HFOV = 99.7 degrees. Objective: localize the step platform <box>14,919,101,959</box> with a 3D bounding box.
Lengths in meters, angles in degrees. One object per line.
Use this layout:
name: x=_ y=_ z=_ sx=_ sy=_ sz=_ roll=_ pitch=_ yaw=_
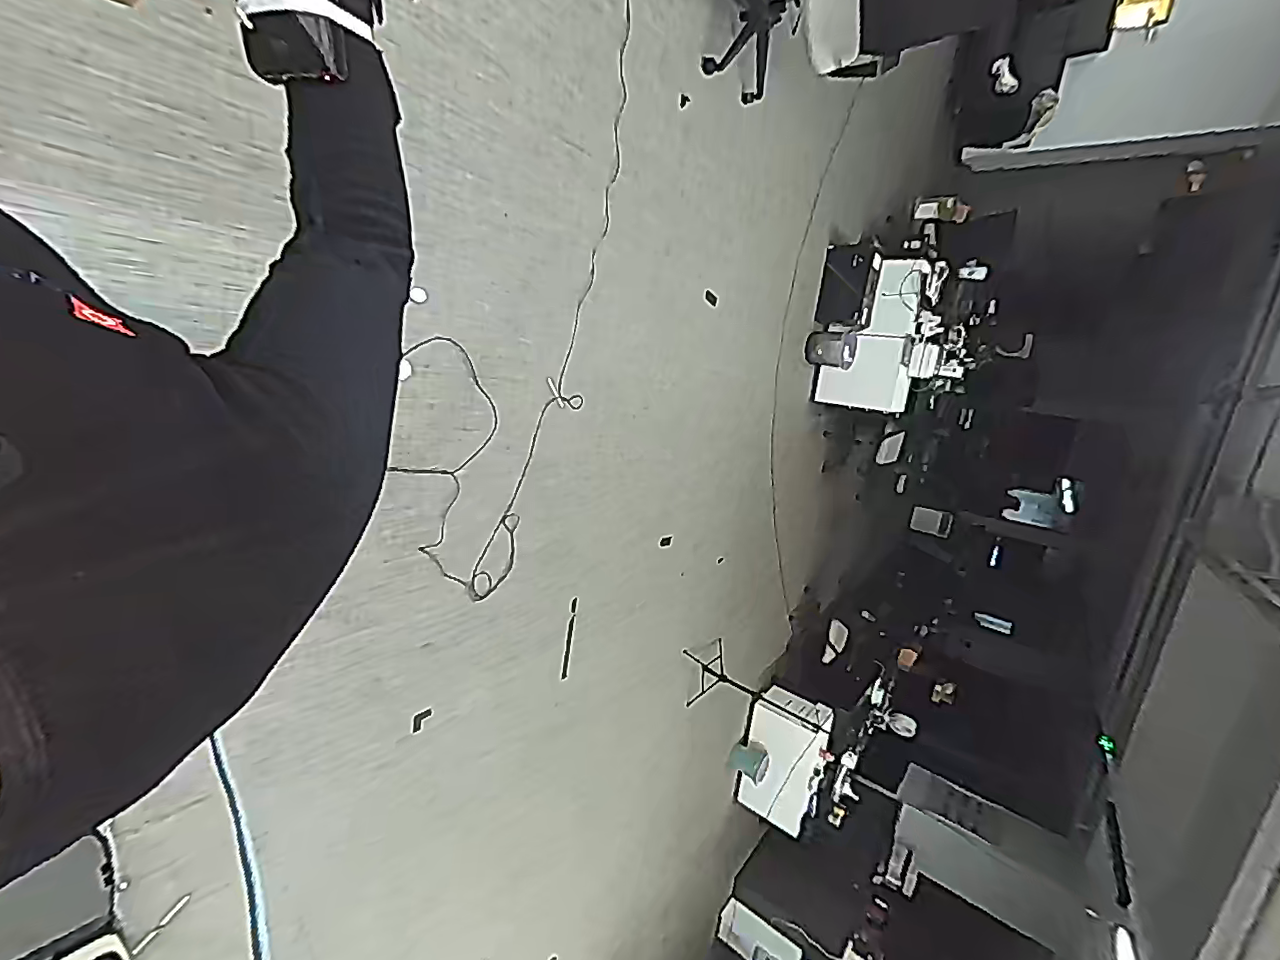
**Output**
step platform: x=-1.442 y=1.193 z=0.979 sx=0.684 sy=0.204 sz=0.286 roll=-11 pitch=112 yaw=-50
